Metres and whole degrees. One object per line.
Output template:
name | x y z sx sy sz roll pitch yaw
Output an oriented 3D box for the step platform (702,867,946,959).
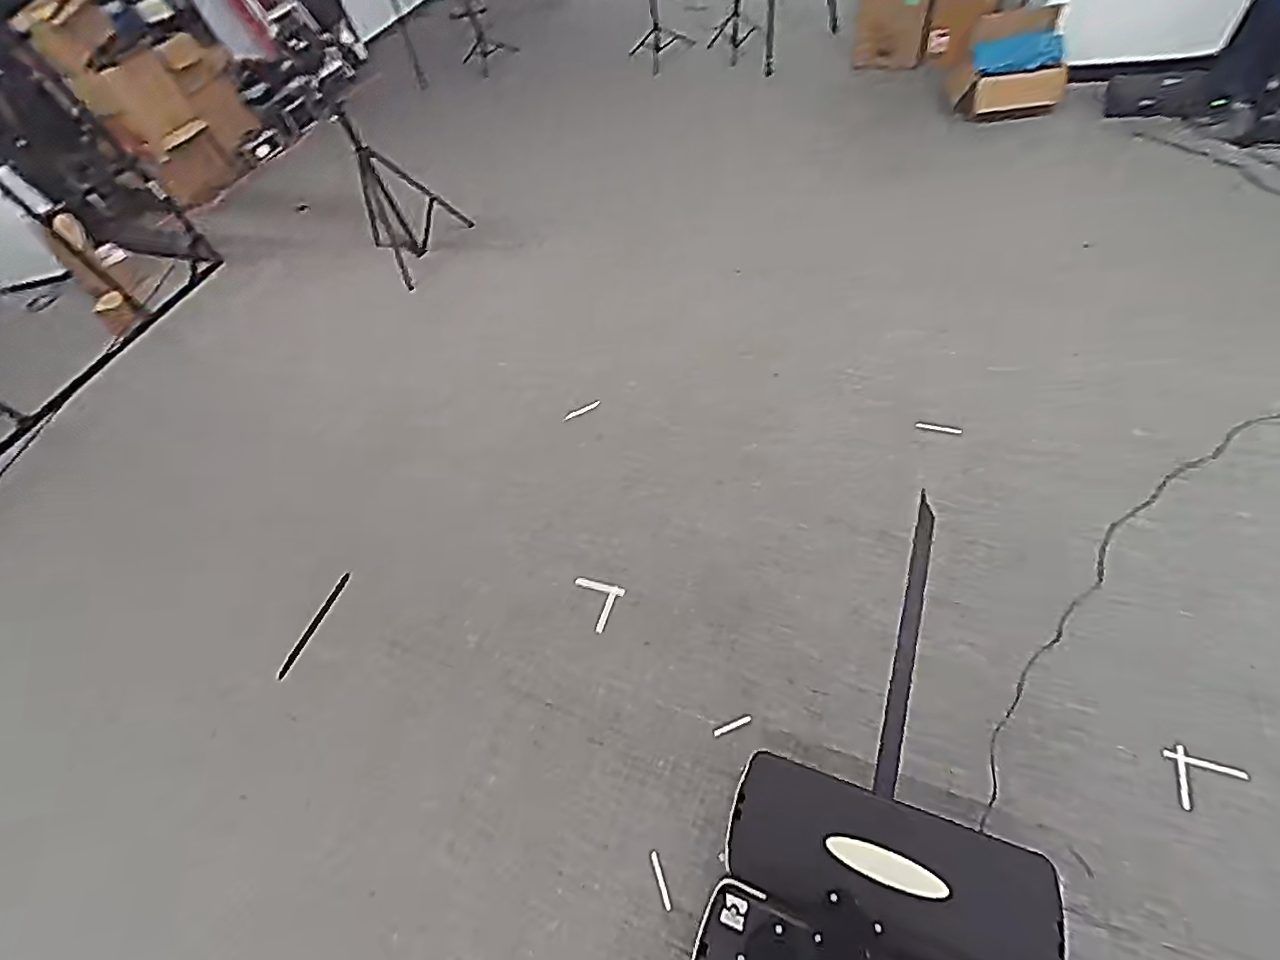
step platform | 0.458 1.047 1.051 0.684 0.204 0.286 11 59 21
